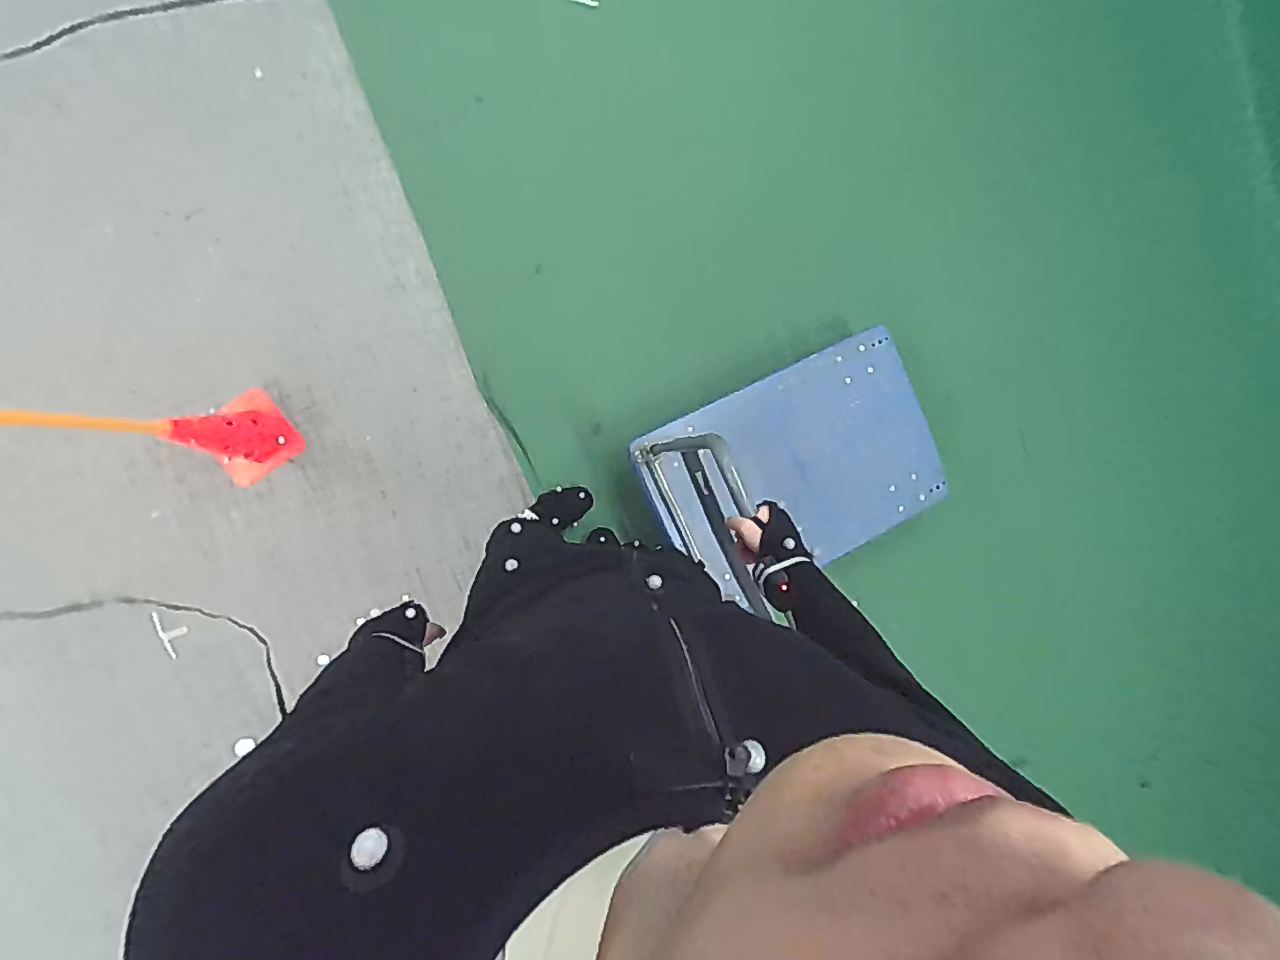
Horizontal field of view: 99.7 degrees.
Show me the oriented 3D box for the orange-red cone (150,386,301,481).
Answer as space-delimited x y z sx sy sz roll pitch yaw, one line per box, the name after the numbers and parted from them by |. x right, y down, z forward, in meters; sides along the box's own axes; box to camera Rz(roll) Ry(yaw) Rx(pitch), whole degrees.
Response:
-1.000 -0.121 1.259 0.198 0.360 0.199 -36 97 -9 | orange-red cone
